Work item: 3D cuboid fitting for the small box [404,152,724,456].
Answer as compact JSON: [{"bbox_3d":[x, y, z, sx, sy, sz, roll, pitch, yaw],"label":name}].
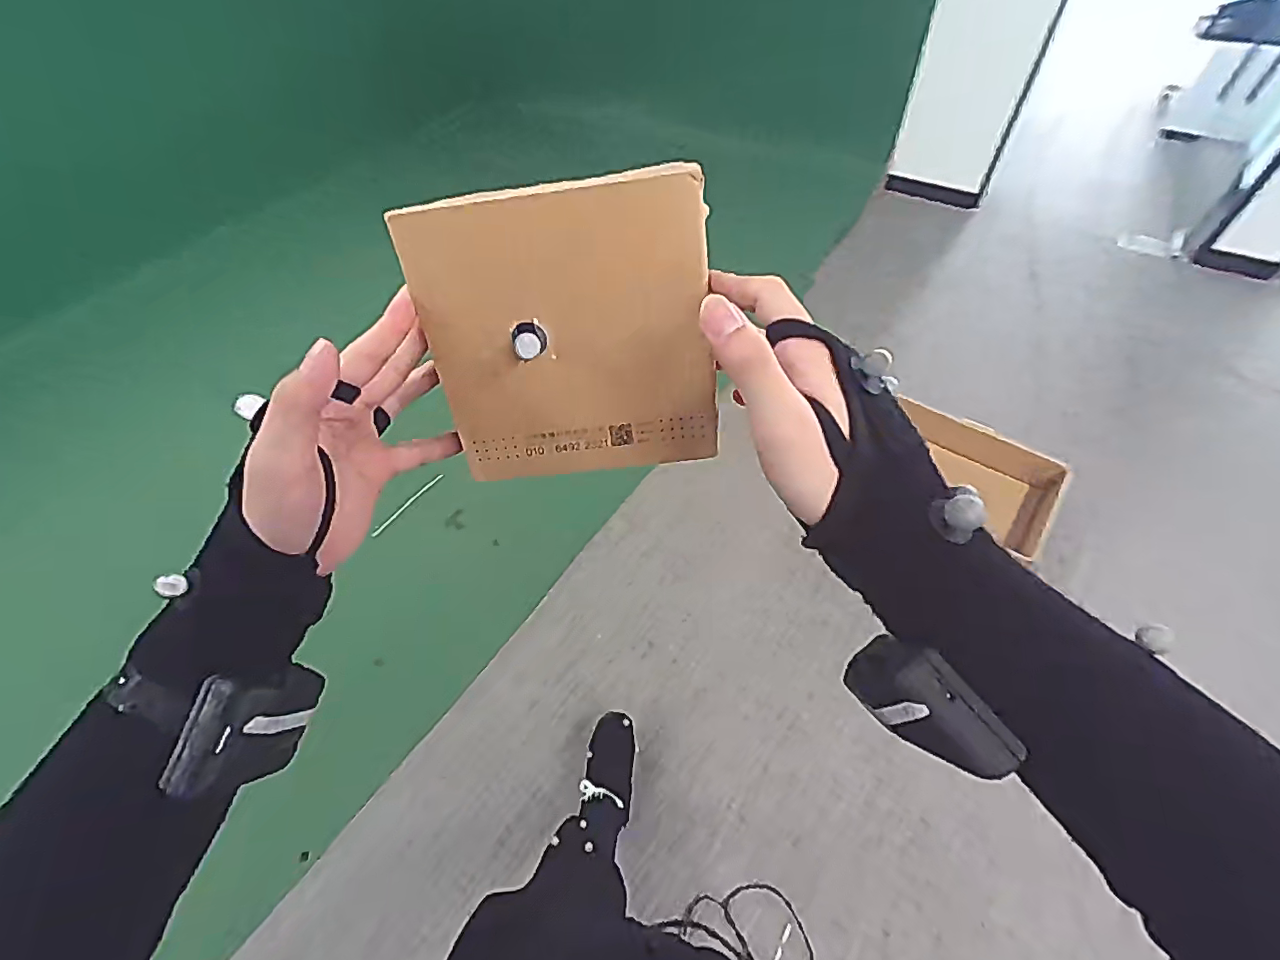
[{"bbox_3d":[-0.033,-0.124,0.389,0.168,0.176,0.179,-6,30,4],"label":"small box"}]
